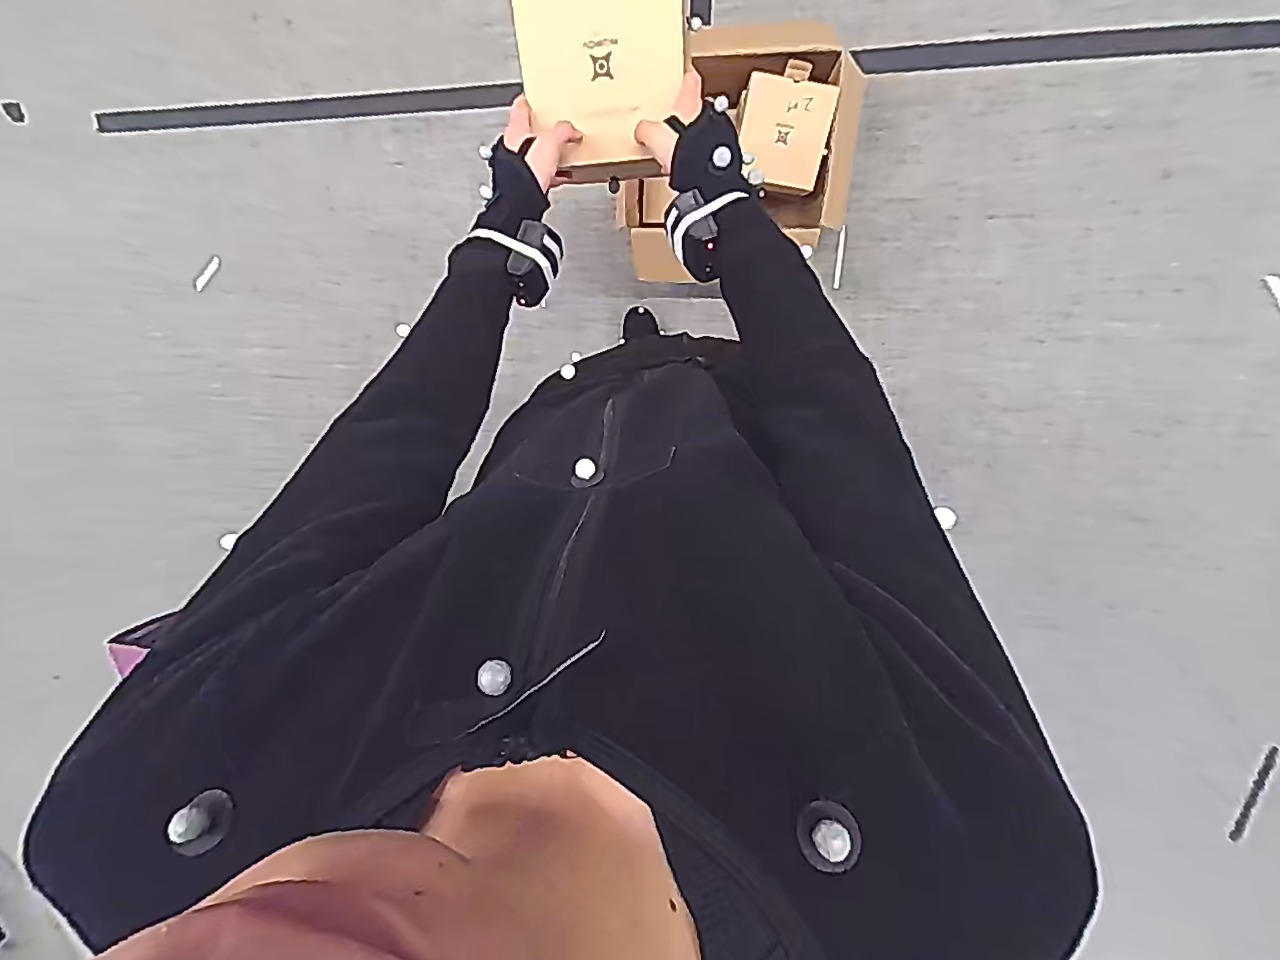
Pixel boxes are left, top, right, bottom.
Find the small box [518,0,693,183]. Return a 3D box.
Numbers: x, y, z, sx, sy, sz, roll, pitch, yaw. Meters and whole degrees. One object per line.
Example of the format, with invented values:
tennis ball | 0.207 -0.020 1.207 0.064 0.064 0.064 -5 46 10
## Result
small box | -0.027 -0.450 0.611 0.168 0.176 0.179 0 113 8
